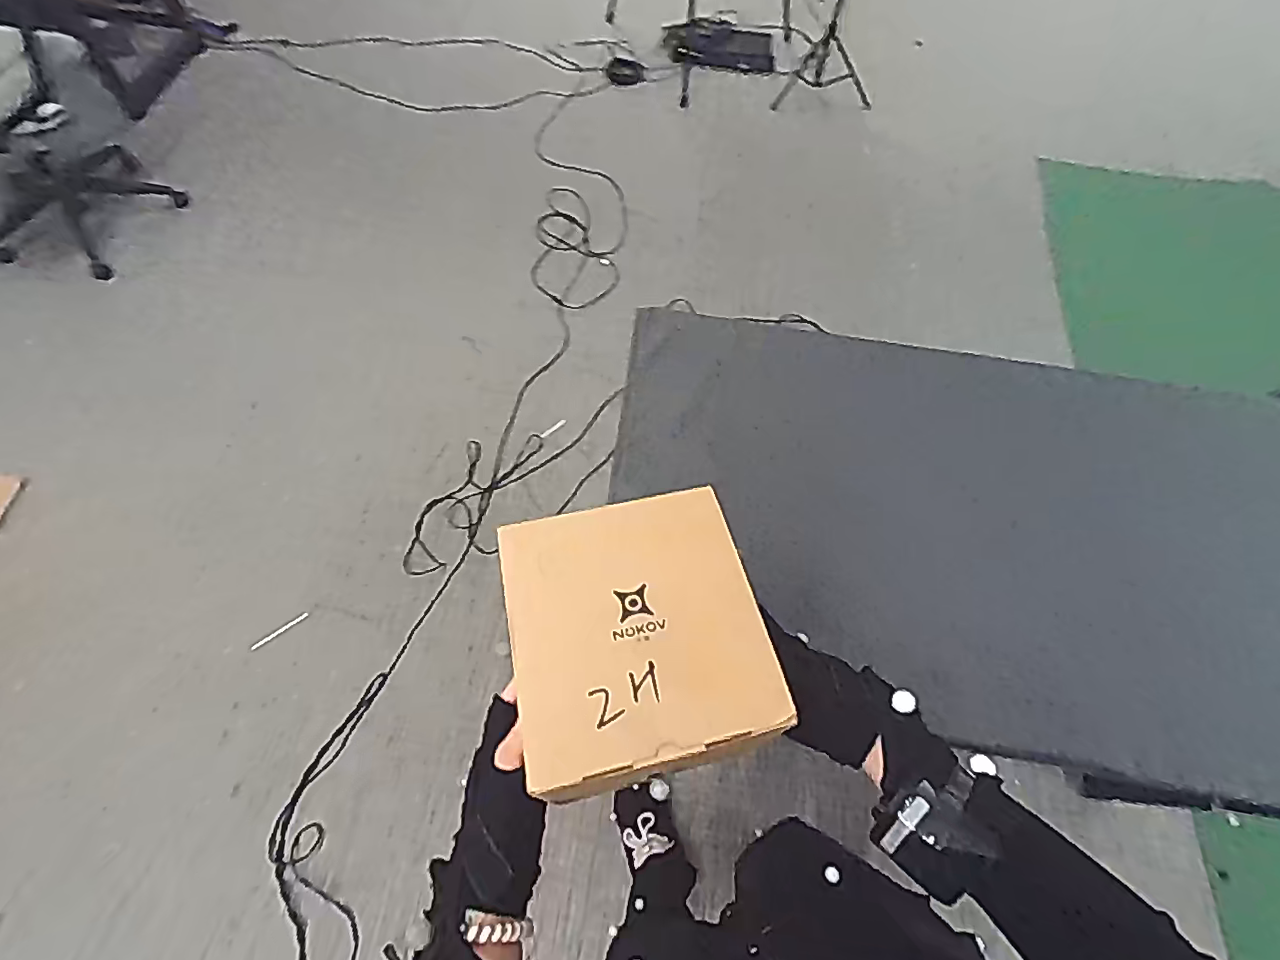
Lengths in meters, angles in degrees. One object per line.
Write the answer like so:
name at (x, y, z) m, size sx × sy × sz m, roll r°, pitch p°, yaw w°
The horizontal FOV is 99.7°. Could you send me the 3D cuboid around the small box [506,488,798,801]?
small box at (-0.004, 0.133, 0.425) m, size 0.168 × 0.176 × 0.179 m, roll -10°, pitch 59°, yaw -9°
